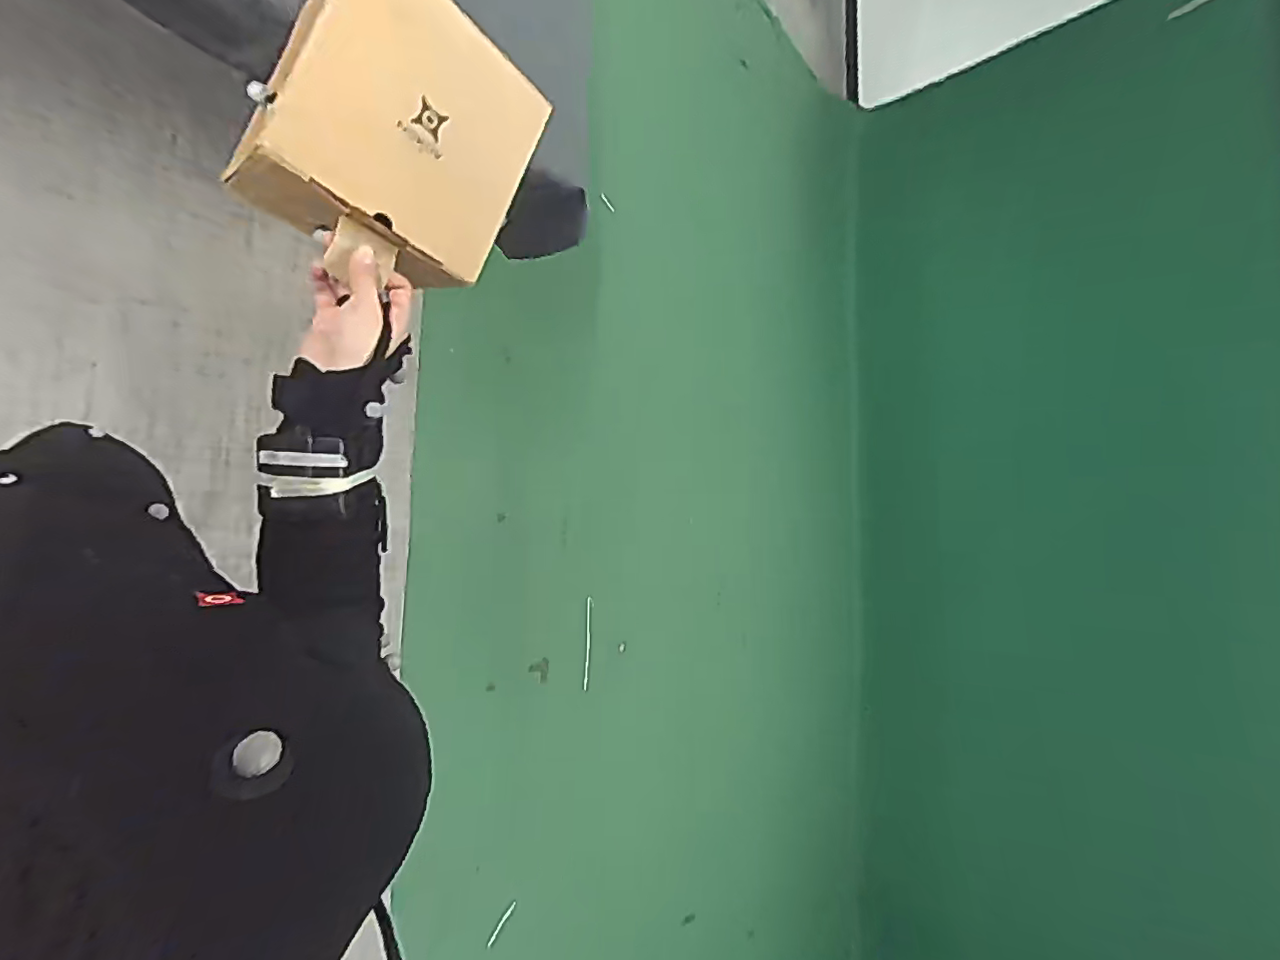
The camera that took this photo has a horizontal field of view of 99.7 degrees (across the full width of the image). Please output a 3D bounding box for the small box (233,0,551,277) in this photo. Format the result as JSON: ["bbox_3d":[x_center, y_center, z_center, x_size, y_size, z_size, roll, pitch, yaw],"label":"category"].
[{"bbox_3d":[-0.213,-0.296,0.459,0.168,0.176,0.179,24,88,-46],"label":"small box"}]
